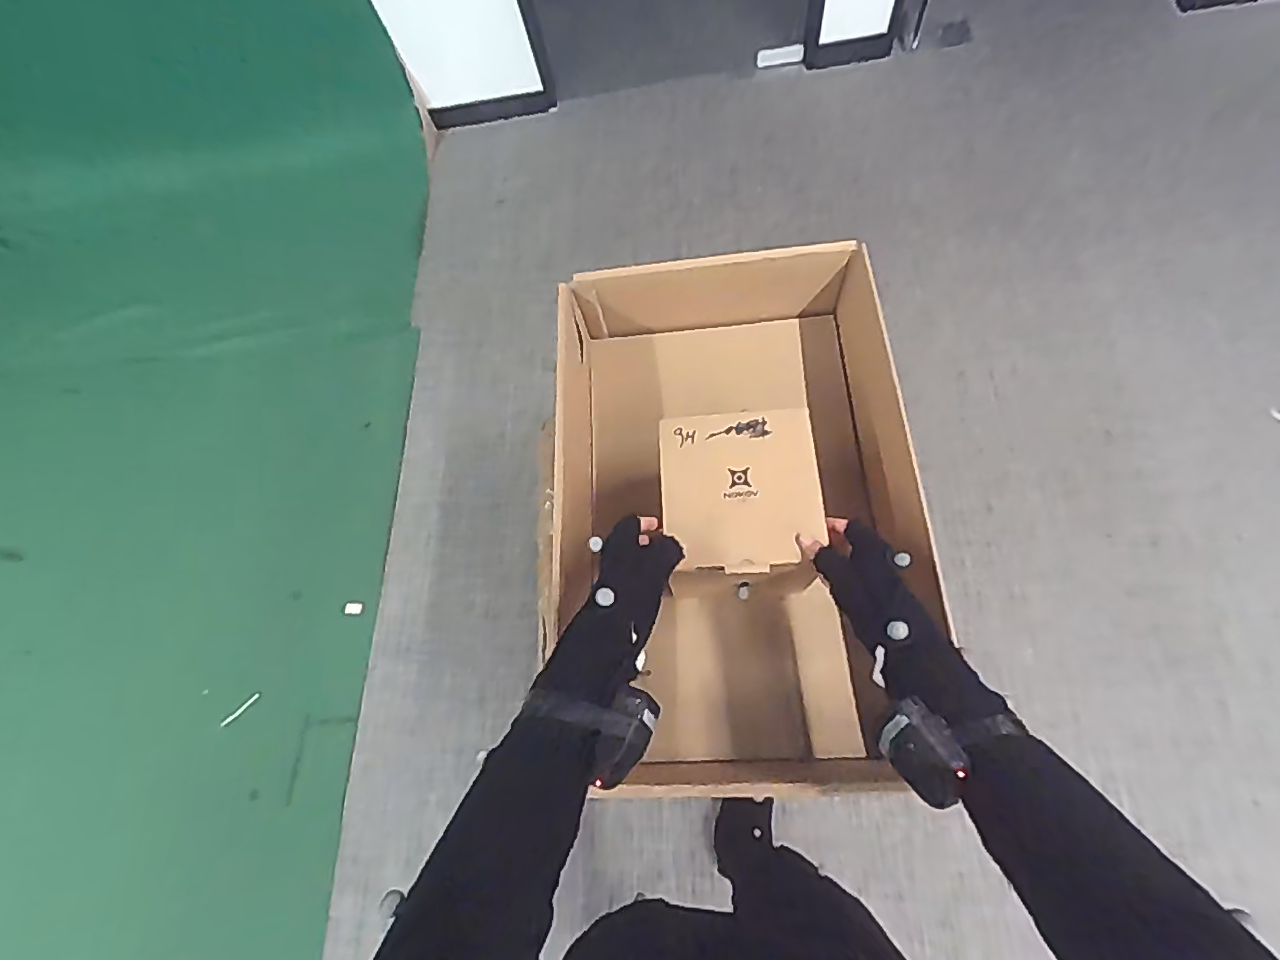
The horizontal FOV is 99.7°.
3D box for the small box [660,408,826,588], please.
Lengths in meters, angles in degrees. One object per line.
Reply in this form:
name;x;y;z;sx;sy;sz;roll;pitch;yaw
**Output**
small box;0.113;0.032;0.644;0.168;0.176;0.179;-3;69;5
